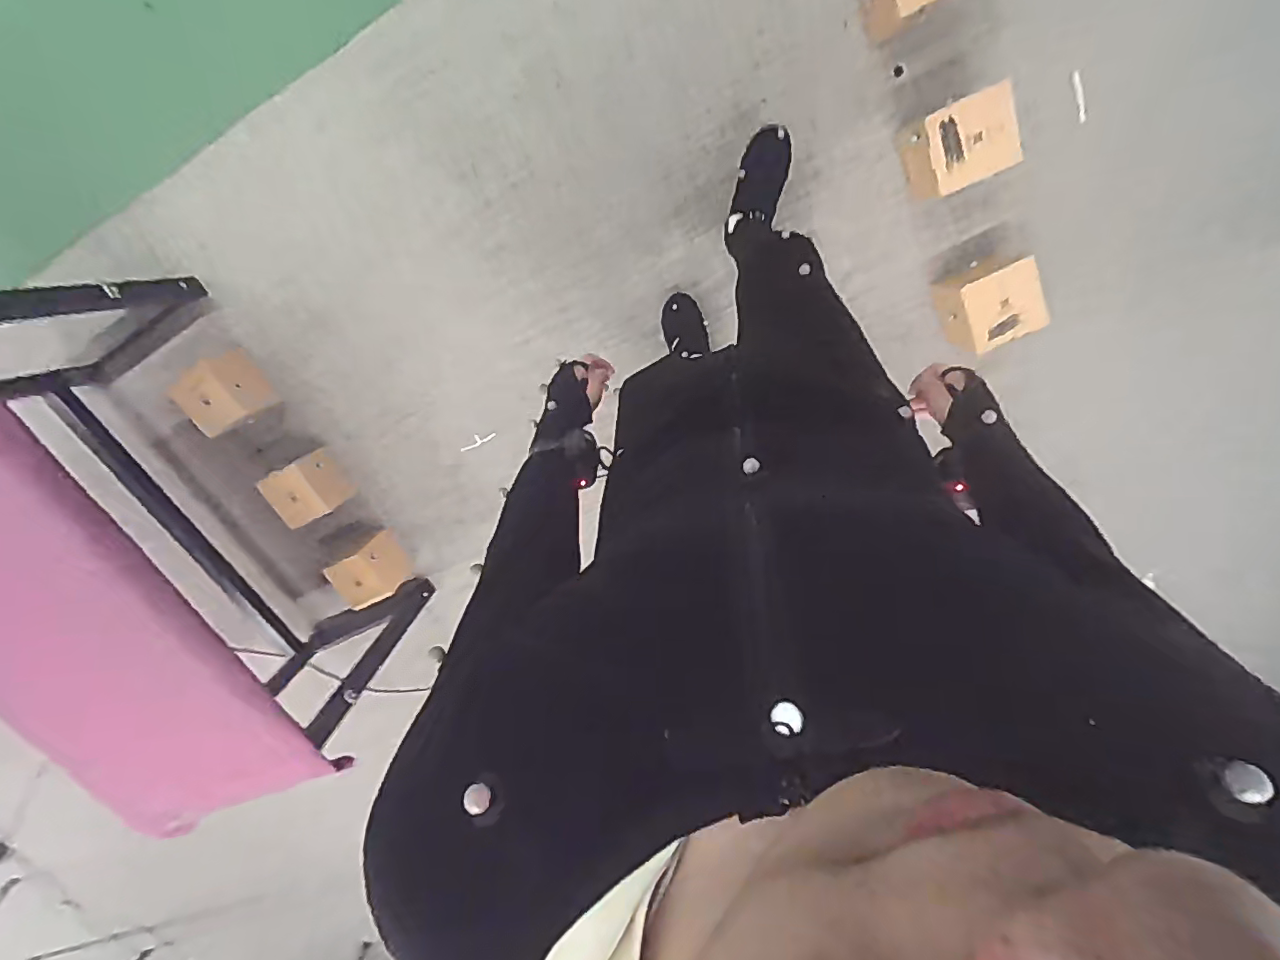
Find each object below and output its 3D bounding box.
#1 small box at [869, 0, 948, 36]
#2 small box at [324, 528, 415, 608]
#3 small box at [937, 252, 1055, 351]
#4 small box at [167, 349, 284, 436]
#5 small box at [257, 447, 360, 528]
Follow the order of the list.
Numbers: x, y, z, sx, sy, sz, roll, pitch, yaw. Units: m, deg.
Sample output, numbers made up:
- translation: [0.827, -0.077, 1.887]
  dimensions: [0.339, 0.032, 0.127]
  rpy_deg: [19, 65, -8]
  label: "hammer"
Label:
- translation: [0.563, -1.050, 1.090]
  dimensions: [0.179, 0.176, 0.168]
  rpy_deg: [-21, 110, 14]
  label: "small box"
- translation: [-0.890, 0.289, 1.798]
  dimensions: [0.168, 0.176, 0.179]
  rpy_deg: [-25, 109, 15]
  label: "small box"
- translation: [0.863, -0.442, 1.324]
  dimensions: [0.168, 0.176, 0.179]
  rpy_deg: [-24, 109, 14]
  label: "small box"
- translation: [-1.203, -0.261, 1.586]
  dimensions: [0.168, 0.176, 0.179]
  rpy_deg: [-27, 108, 15]
  label: "small box"
- translation: [-1.028, 0.014, 1.691]
  dimensions: [0.168, 0.176, 0.179]
  rpy_deg: [-23, 110, 15]
  label: "small box"
